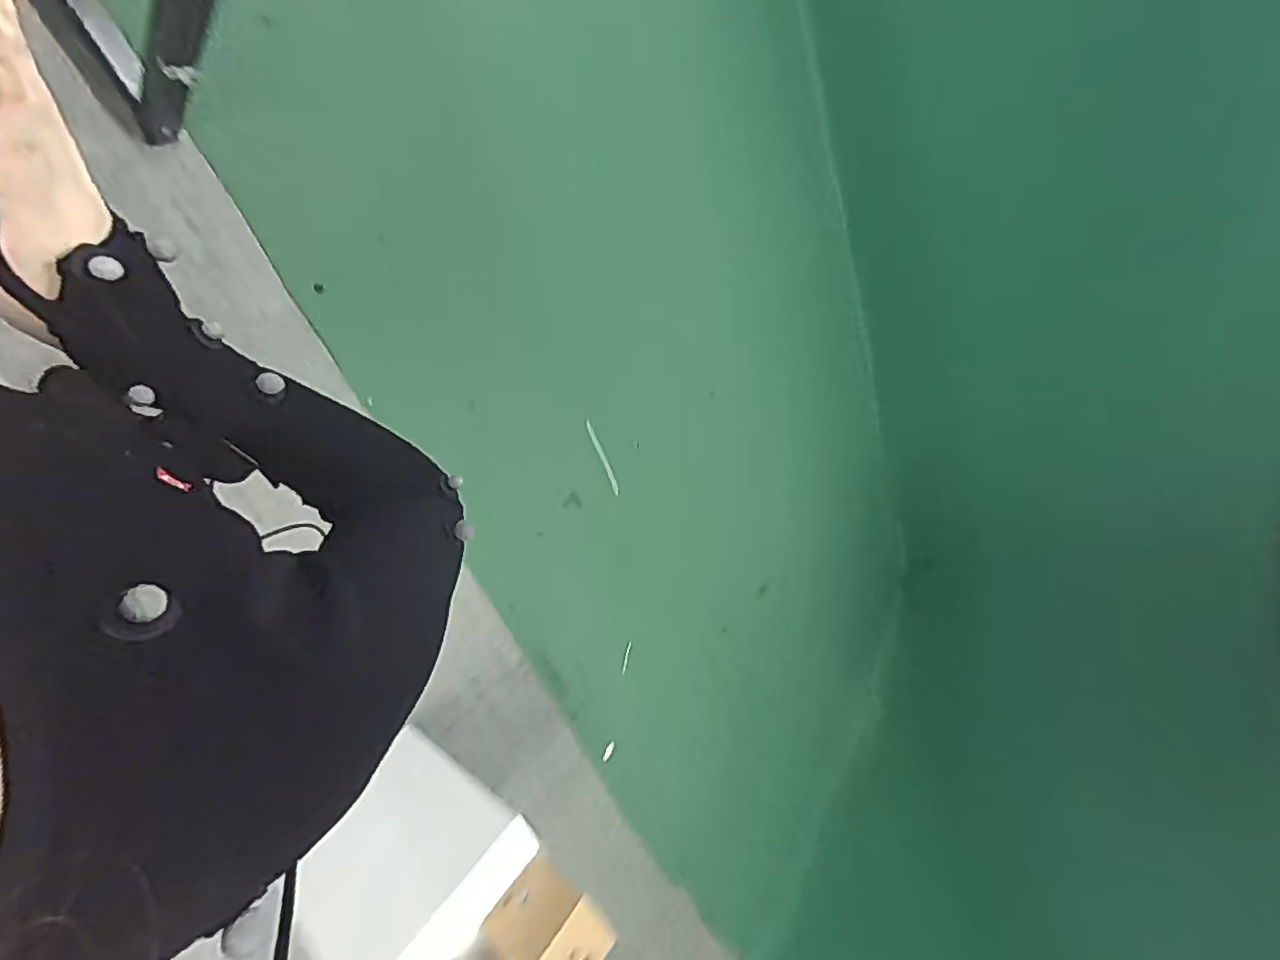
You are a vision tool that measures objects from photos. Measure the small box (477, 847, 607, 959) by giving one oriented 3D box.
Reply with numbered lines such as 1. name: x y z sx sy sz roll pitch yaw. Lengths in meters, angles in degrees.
1. small box: -0.203 0.915 1.123 0.168 0.176 0.179 -40 120 -35
